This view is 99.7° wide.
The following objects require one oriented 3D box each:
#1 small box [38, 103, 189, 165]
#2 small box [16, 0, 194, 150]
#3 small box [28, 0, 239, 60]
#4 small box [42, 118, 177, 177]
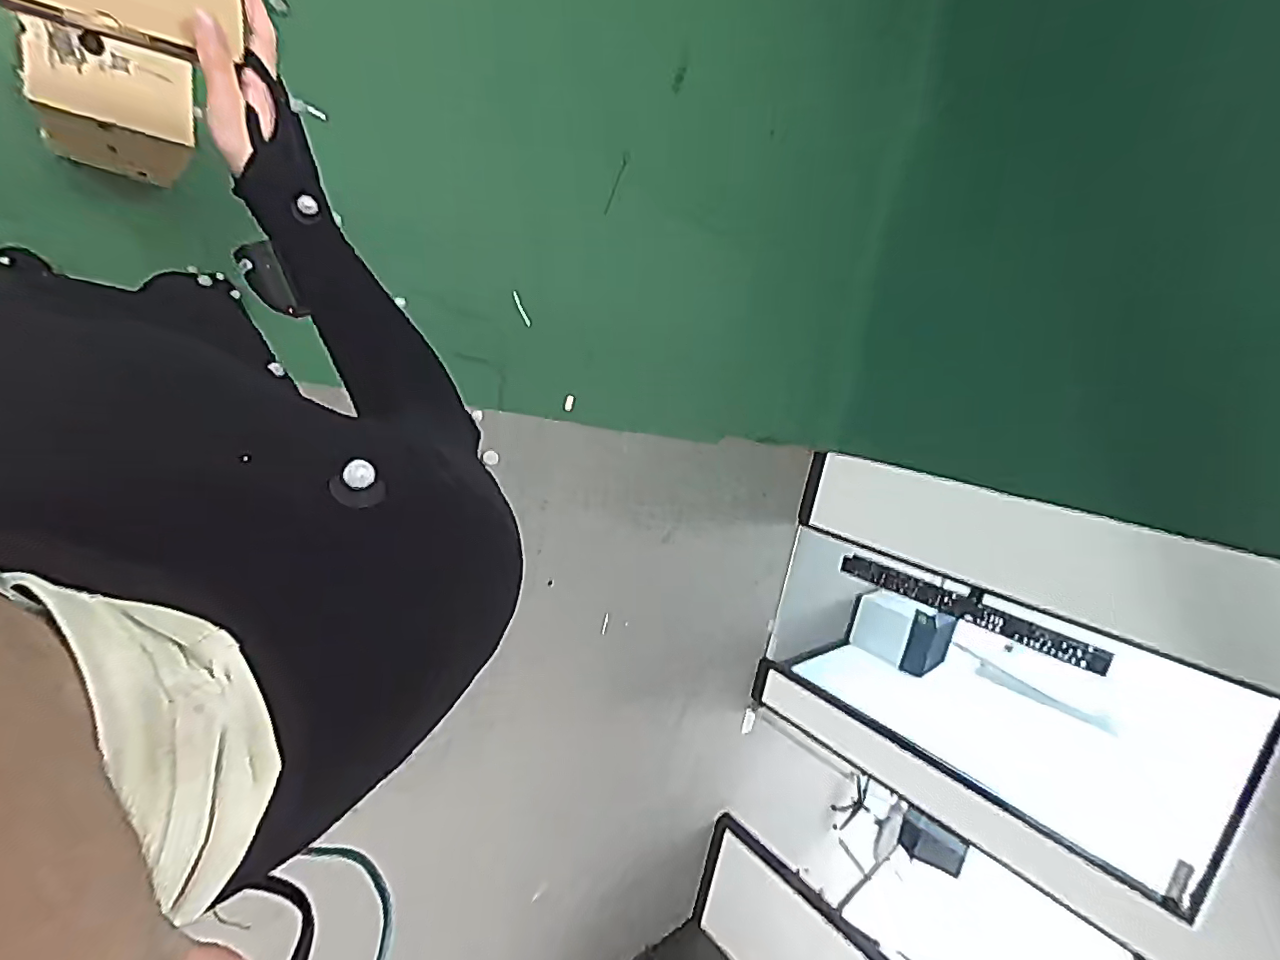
[{"bbox_3d":[-0.883,-0.655,0.915,0.179,0.176,0.168,0,106,-43],"label":"small box"},{"bbox_3d":[-0.776,-0.612,0.797,0.179,0.176,0.168,-2,108,-43],"label":"small box"},{"bbox_3d":[-0.409,-0.435,0.382,0.168,0.176,0.179,-15,130,-45],"label":"small box"},{"bbox_3d":[-0.994,-0.696,1.025,0.179,0.176,0.168,4,103,-44],"label":"small box"}]
